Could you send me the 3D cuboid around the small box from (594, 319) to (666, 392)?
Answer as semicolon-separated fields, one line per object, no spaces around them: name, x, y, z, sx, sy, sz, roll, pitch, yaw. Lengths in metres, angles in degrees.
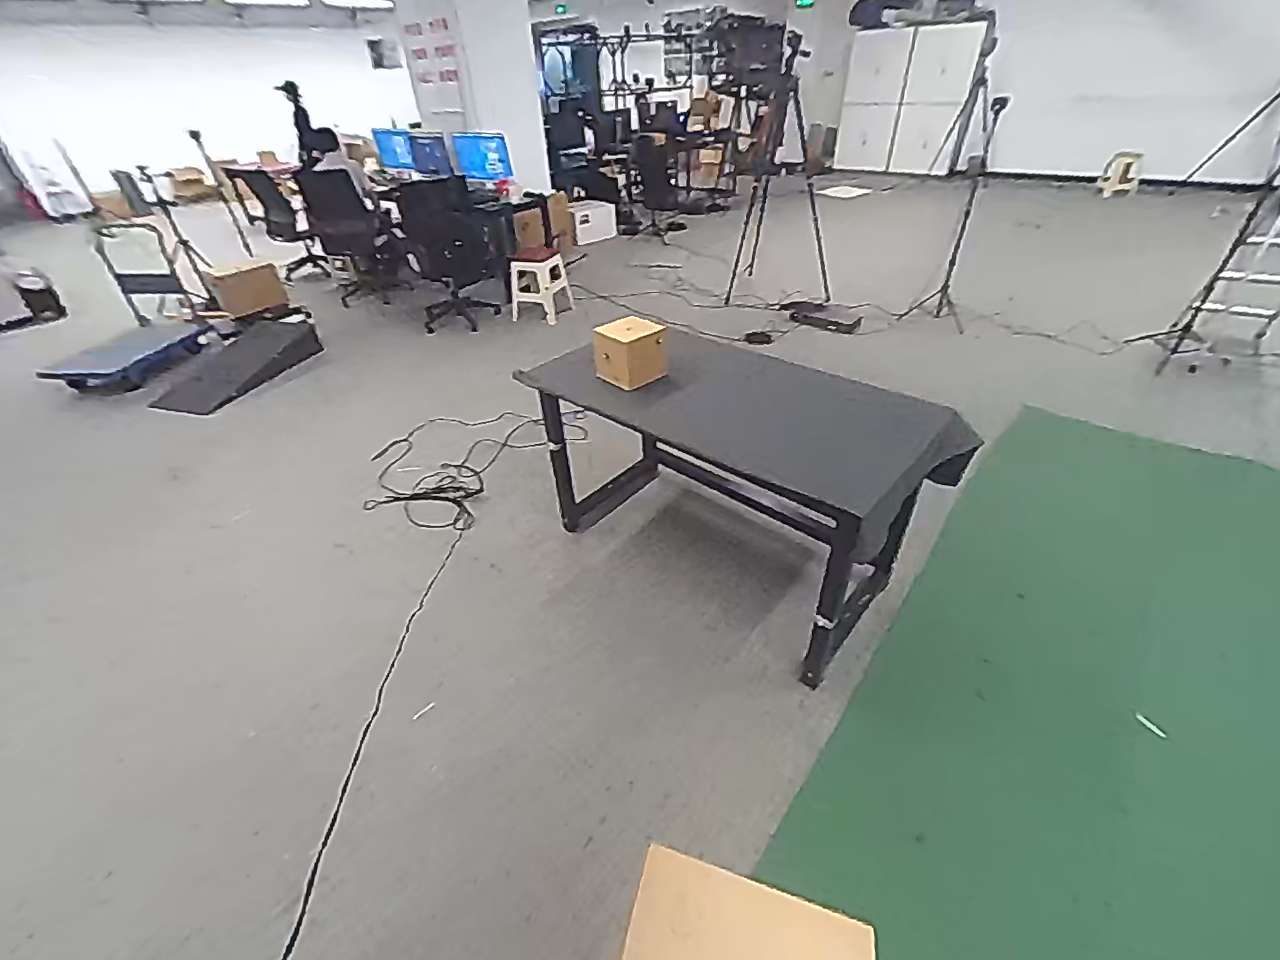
small box;-0.027;-0.407;1.767;0.179;0.176;0.168;-30;44;-33

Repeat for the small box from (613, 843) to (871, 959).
small box;0.052;0.406;0.381;0.168;0.176;0.179;15;41;9
